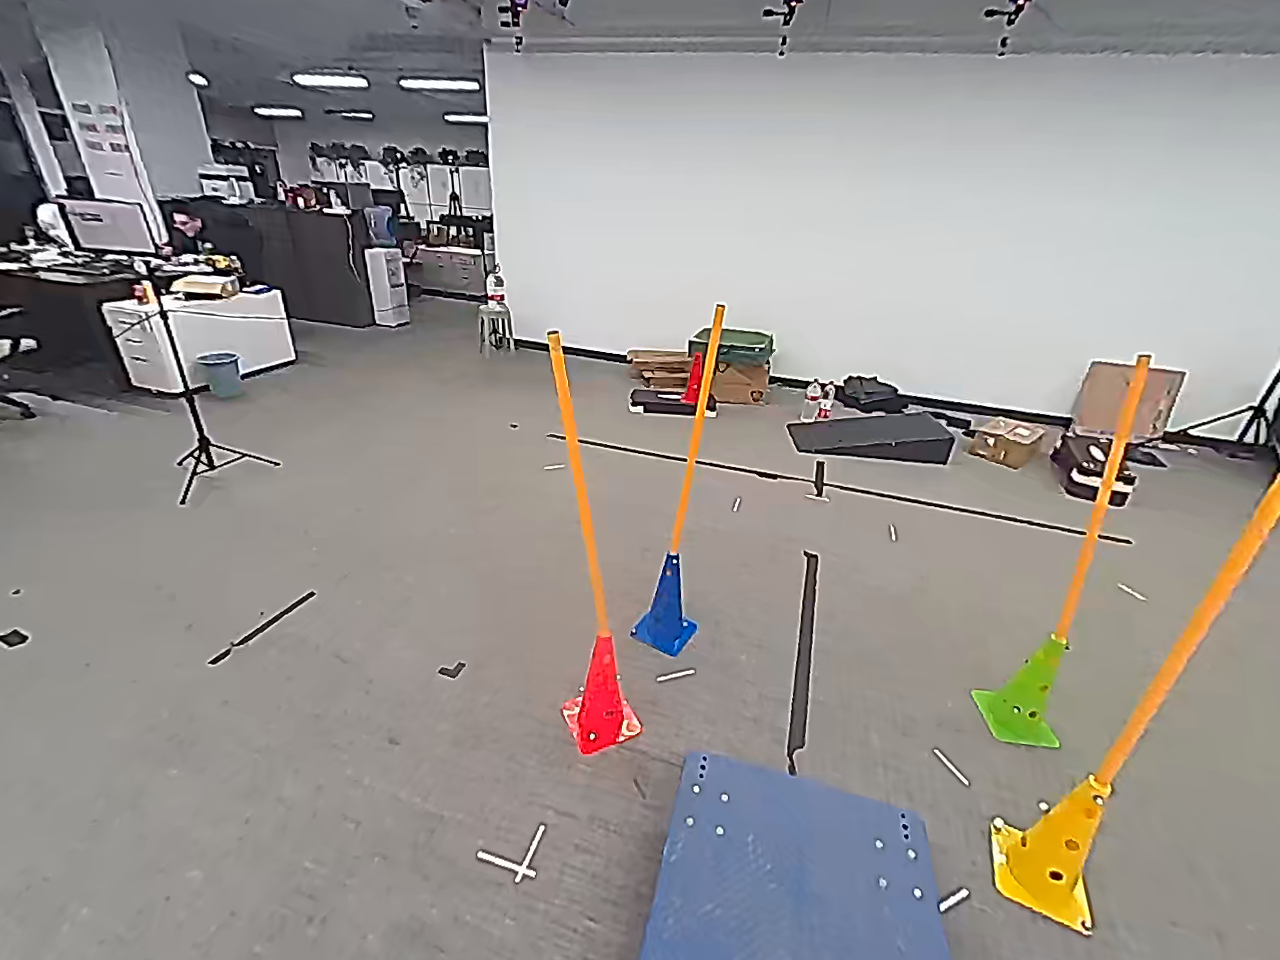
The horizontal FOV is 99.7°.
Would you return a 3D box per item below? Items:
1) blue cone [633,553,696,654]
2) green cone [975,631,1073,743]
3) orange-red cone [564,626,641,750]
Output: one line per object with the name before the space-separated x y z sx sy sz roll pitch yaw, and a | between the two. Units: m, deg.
blue cone | 0.104 0.417 1.944 0.193 0.380 0.192 20 32 27
green cone | 1.240 0.613 1.683 0.200 0.368 0.202 5 29 2
orange-red cone | -0.104 0.573 1.584 0.199 0.360 0.198 -9 31 -26
